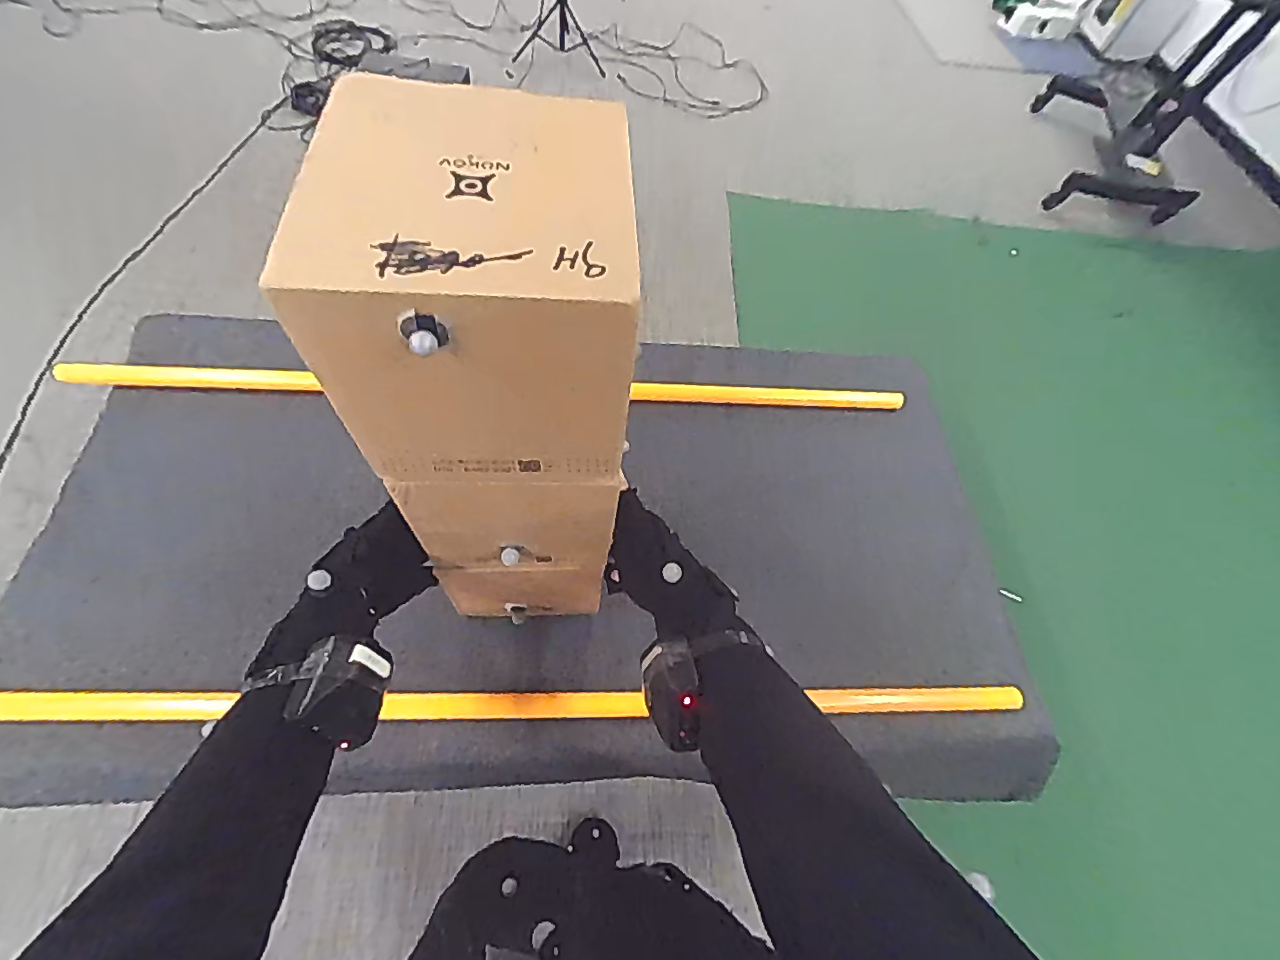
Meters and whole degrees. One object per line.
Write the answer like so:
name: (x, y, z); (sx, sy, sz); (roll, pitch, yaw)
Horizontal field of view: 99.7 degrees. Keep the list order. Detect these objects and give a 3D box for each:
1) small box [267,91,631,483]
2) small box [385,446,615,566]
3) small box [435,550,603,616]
small box: (-0.097, -0.115, 0.358); (0.168, 0.176, 0.179); (0, 60, -6)
small box: (-0.112, -0.033, 0.498); (0.168, 0.176, 0.179); (0, 61, -7)
small box: (-0.132, 0.050, 0.639); (0.168, 0.176, 0.179); (-1, 62, -7)
